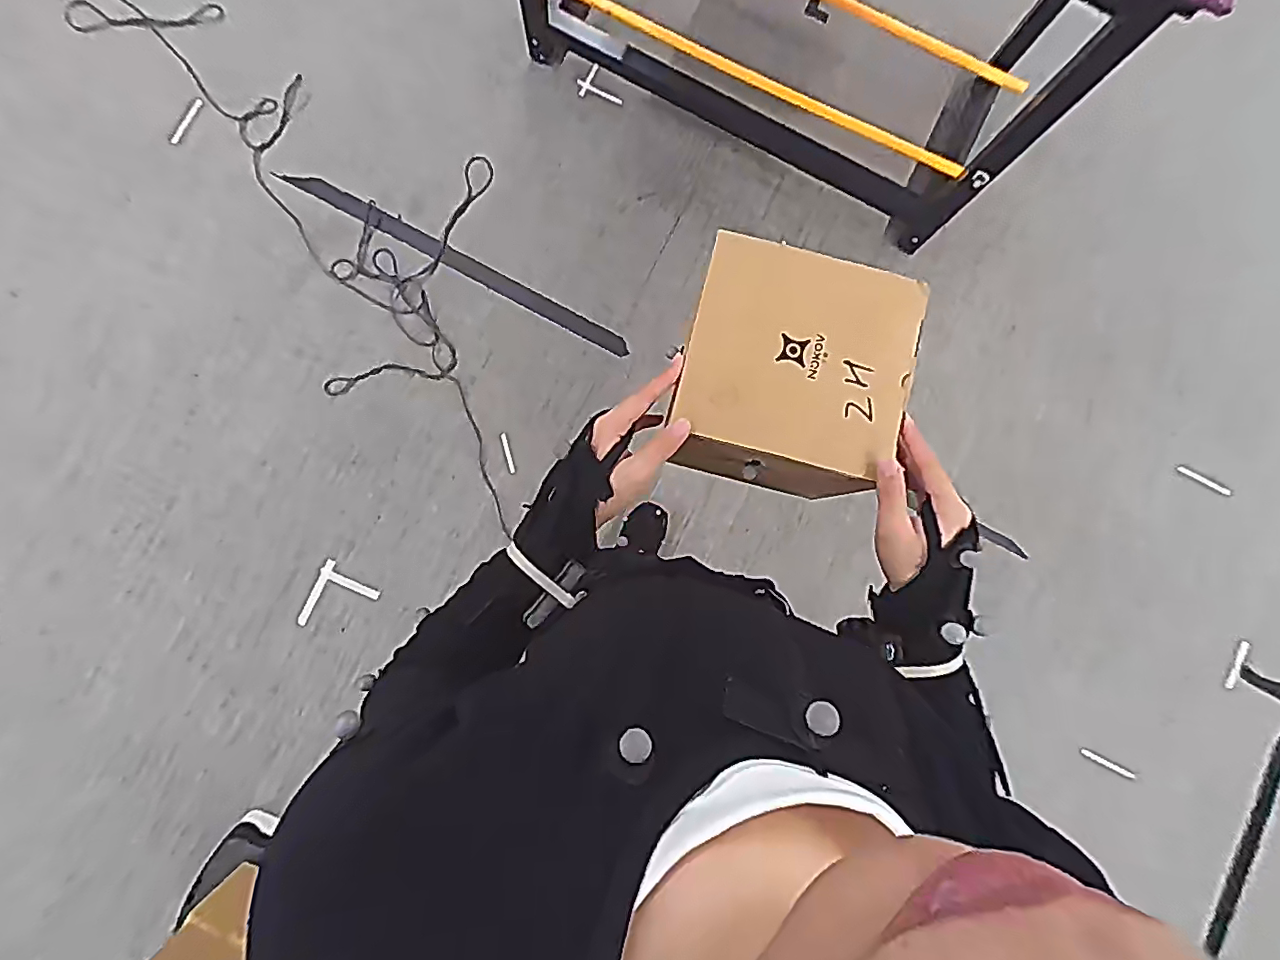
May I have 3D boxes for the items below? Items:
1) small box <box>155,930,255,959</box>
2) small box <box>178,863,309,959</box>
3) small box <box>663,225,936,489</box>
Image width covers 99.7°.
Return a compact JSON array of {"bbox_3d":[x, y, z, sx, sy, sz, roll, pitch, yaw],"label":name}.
[{"bbox_3d":[-0.827,0.958,0.955,0.179,0.176,0.168,30,85,-1],"label":"small box"},{"bbox_3d":[-0.833,0.954,1.120,0.168,0.176,0.179,24,85,-1],"label":"small box"},{"bbox_3d":[0.125,-0.092,0.490,0.179,0.176,0.168,15,85,-1],"label":"small box"}]
